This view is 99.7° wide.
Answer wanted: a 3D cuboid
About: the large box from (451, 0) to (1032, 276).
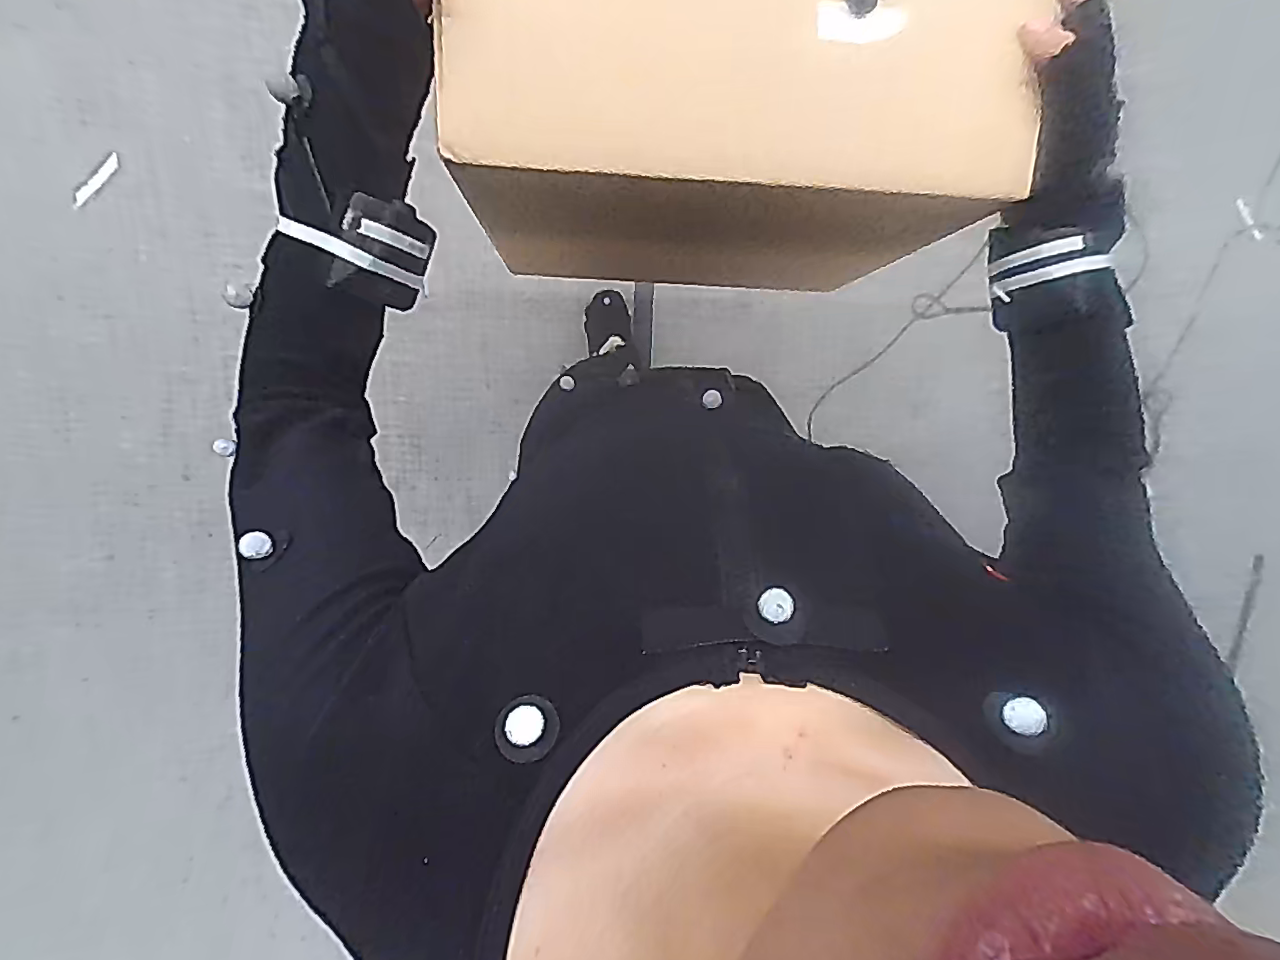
[{"bbox_3d":[0.060,-0.387,0.502,0.408,0.320,0.320,0,98,-6],"label":"large box"}]
